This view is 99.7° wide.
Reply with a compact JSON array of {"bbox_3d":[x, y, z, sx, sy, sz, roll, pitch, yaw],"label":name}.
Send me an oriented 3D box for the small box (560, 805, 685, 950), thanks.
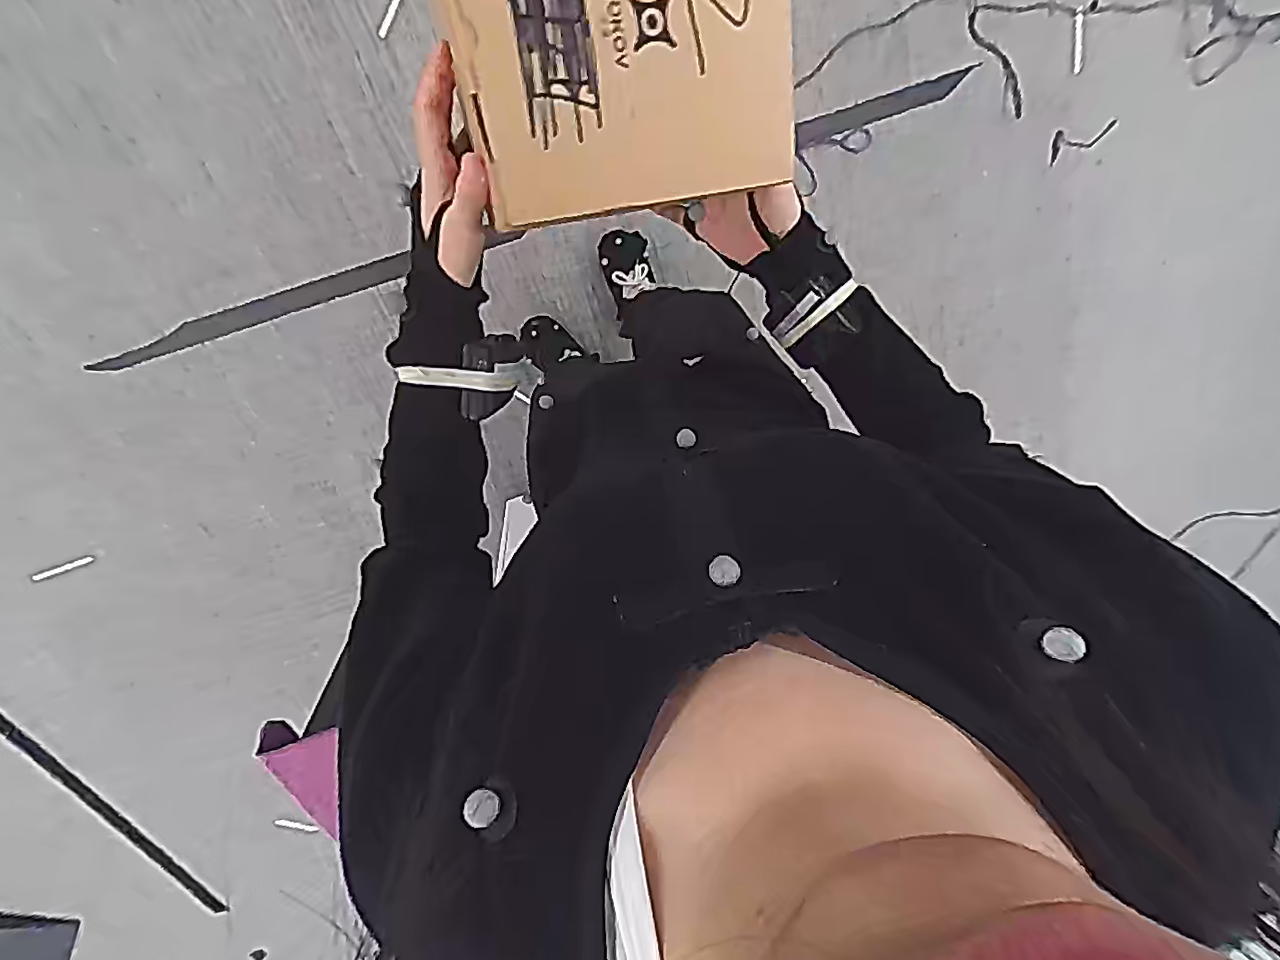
[{"bbox_3d":[-0.037,0.729,0.964,0.179,0.176,0.168,-17,113,-4],"label":"small box"}]
